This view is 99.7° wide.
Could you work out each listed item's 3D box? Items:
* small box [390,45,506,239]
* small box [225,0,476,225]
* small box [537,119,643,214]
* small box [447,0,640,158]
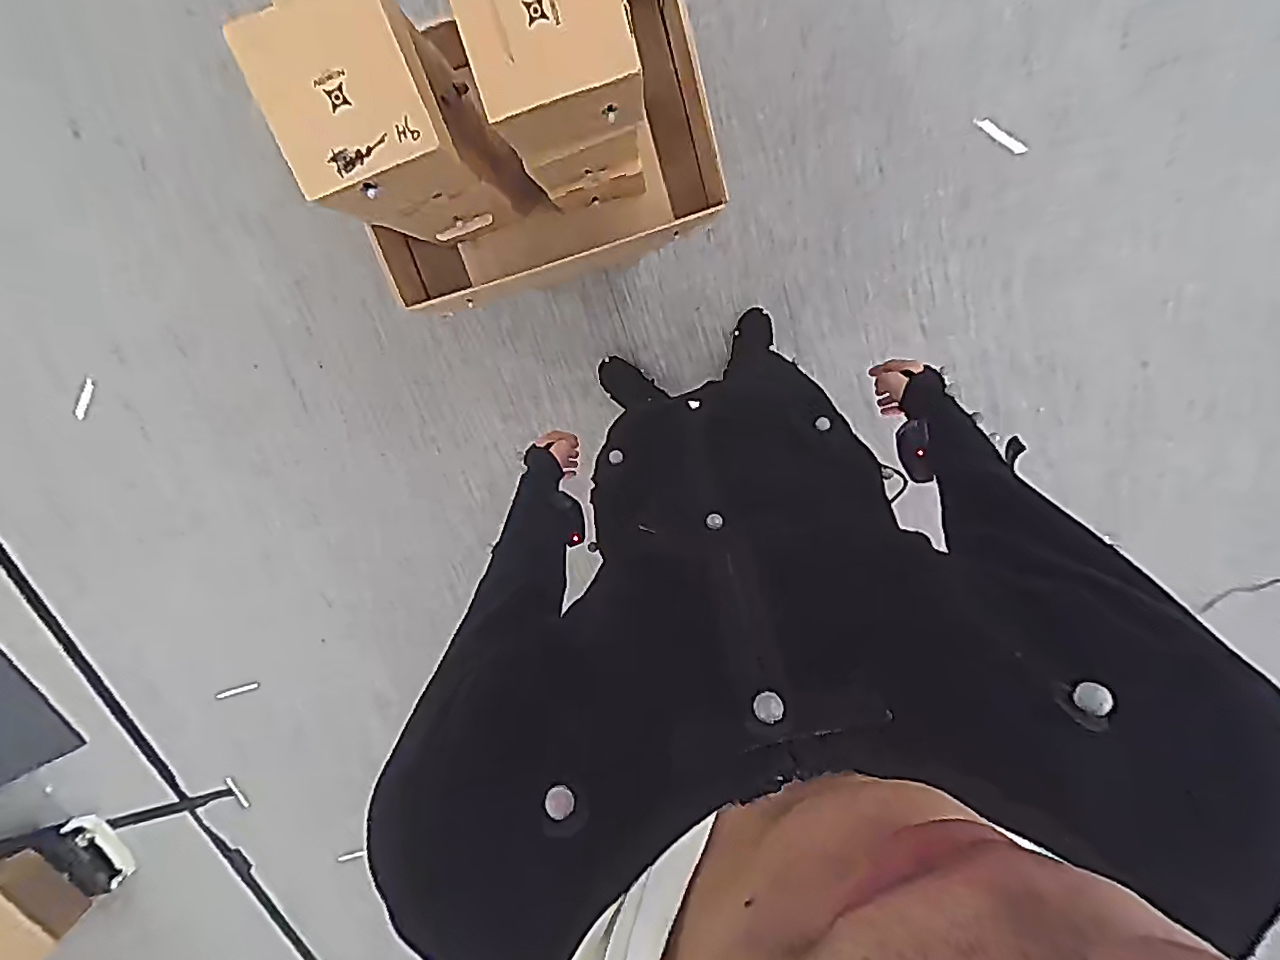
[{"bbox_3d":[-0.319,-0.481,0.801,0.168,0.176,0.179,-19,107,5],"label":"small box"},{"bbox_3d":[-0.322,-0.431,0.643,0.168,0.176,0.179,-19,105,6],"label":"small box"},{"bbox_3d":[-0.095,-0.589,0.944,0.168,0.176,0.179,-14,108,6],"label":"small box"},{"bbox_3d":[-0.103,-0.504,0.628,0.179,0.176,0.168,-14,107,7],"label":"small box"}]
